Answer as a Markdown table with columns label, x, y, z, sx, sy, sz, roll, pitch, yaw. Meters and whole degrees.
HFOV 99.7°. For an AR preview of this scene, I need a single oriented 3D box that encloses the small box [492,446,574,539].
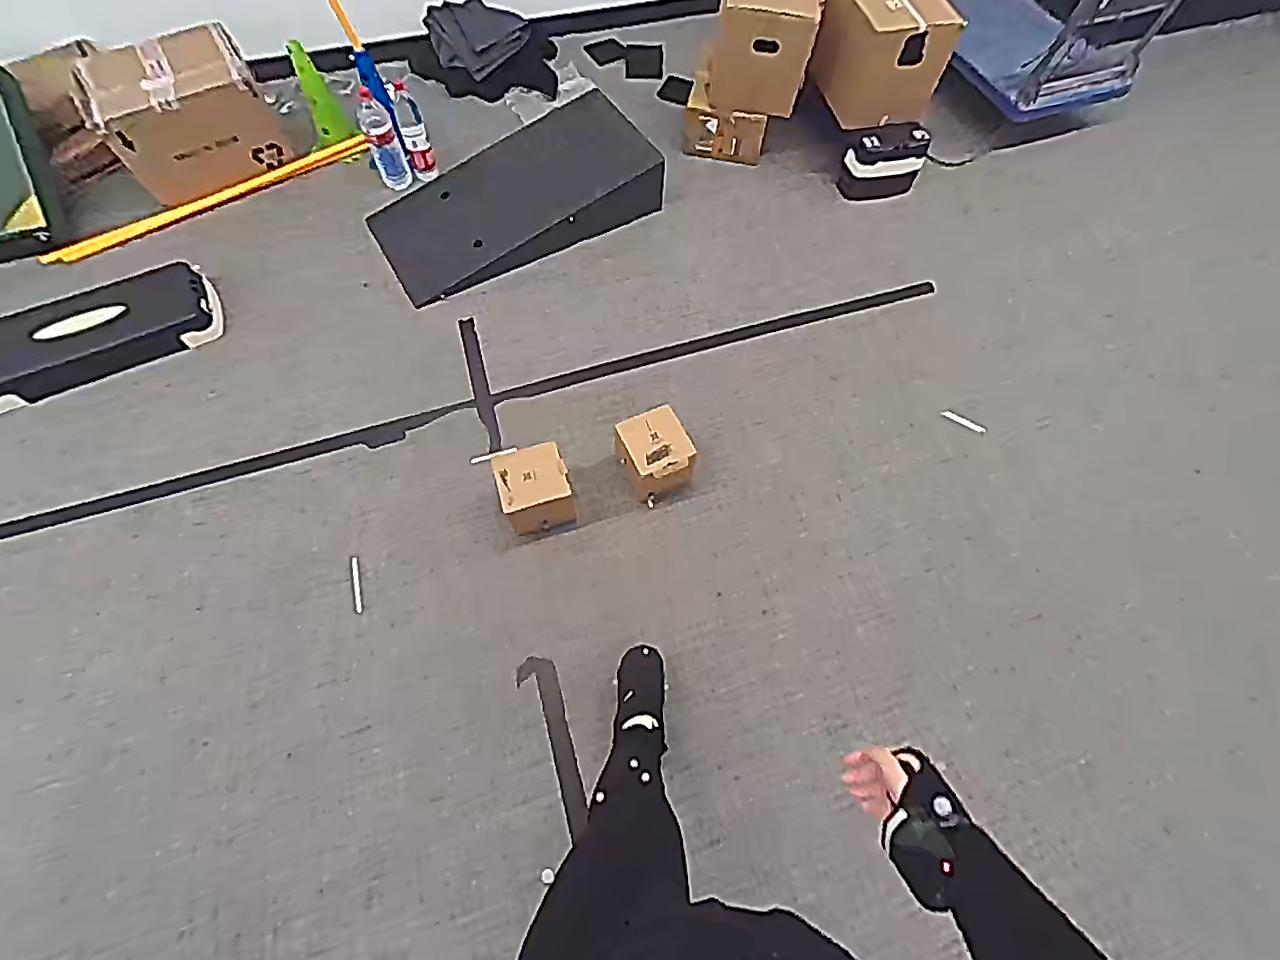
| label | x | y | z | sx | sy | sz | roll | pitch | yaw |
| --- | --- | --- | --- | --- | --- | --- | --- | --- | --- |
| small box | -0.276 | 0.036 | 1.428 | 0.179 | 0.176 | 0.168 | -16 | 66 | -10 |

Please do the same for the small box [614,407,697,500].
| label | x | y | z | sx | sy | sz | roll | pitch | yaw |
| --- | --- | --- | --- | --- | --- | --- | --- | --- | --- |
| small box | 0.040 | -0.063 | 1.486 | 0.168 | 0.176 | 0.179 | -23 | 66 | -12 |
